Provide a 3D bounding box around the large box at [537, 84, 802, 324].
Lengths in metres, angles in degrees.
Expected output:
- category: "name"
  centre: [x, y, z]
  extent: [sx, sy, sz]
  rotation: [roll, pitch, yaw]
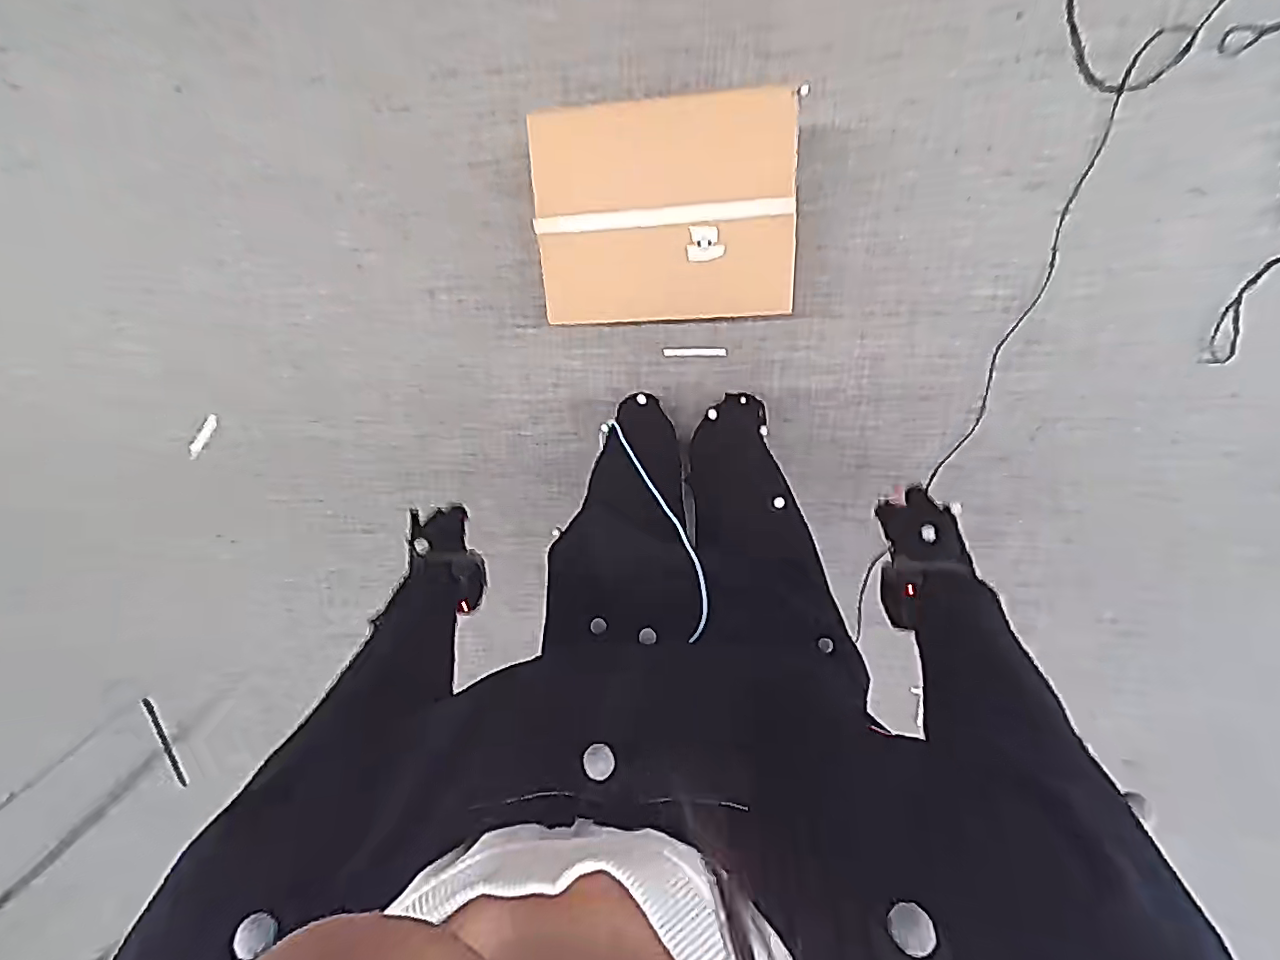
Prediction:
- category: "large box"
  centre: [0.064, -0.466, 0.990]
  extent: [0.408, 0.320, 0.320]
  rotation: [-1, 110, 8]
